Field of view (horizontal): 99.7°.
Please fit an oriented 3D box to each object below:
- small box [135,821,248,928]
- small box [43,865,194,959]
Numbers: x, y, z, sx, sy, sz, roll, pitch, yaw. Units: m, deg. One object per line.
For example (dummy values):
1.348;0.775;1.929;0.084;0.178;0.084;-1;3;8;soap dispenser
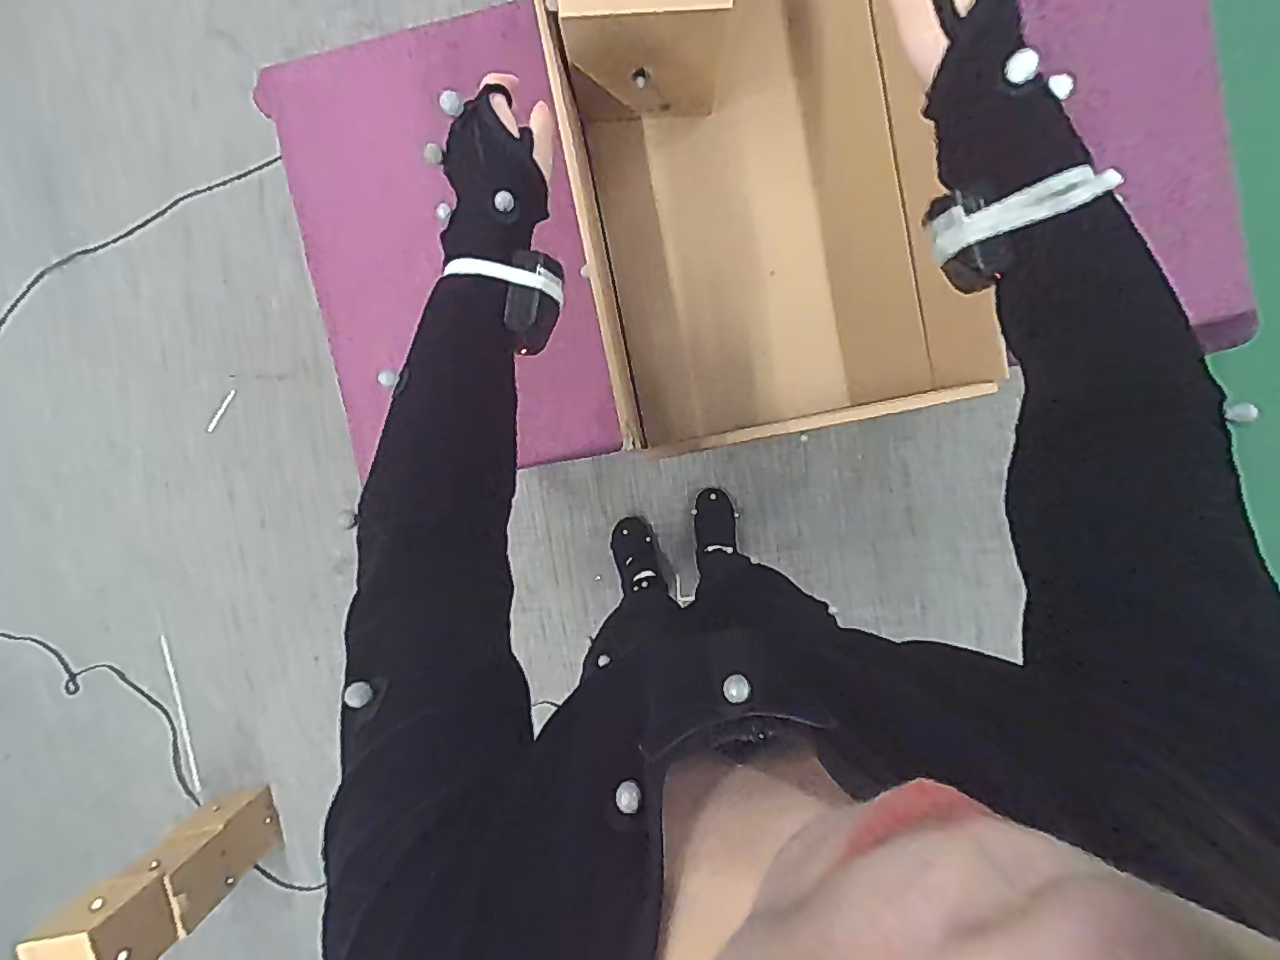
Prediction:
-1.168;1.026;1.409;0.179;0.176;0.168;-12;93;6;small box
-1.190;1.027;1.247;0.168;0.176;0.179;-12;94;5;small box
